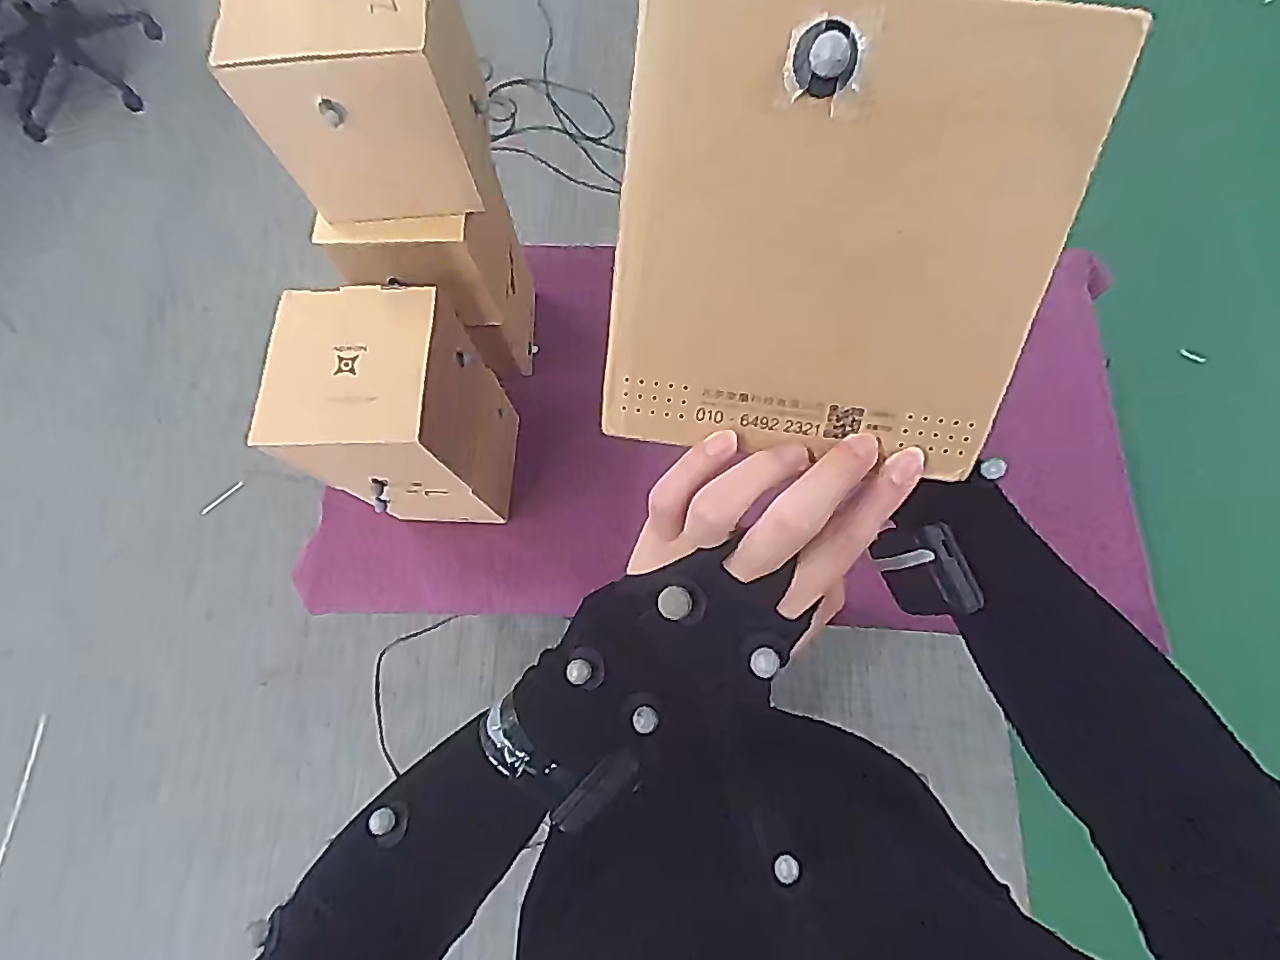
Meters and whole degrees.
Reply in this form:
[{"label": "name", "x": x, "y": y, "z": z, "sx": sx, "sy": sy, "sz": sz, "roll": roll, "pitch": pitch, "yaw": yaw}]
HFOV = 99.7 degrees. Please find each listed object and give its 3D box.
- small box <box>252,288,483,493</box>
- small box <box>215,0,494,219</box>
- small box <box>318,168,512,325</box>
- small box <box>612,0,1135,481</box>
[{"label": "small box", "x": -0.286, "y": -0.093, "z": 0.614, "sx": 0.168, "sy": 0.176, "sz": 0.179, "roll": 0, "pitch": 73, "yaw": 2}, {"label": "small box", "x": -0.255, "y": -0.382, "z": 0.530, "sx": 0.179, "sy": 0.176, "sz": 0.168, "roll": -4, "pitch": 73, "yaw": 0}, {"label": "small box", "x": -0.264, "y": -0.310, "z": 0.680, "sx": 0.168, "sy": 0.176, "sz": 0.179, "roll": -1, "pitch": 73, "yaw": 1}, {"label": "small box", "x": 0.081, "y": -0.116, "z": 0.288, "sx": 0.168, "sy": 0.179, "sz": 0.176, "roll": 8, "pitch": 113, "yaw": 3}]
